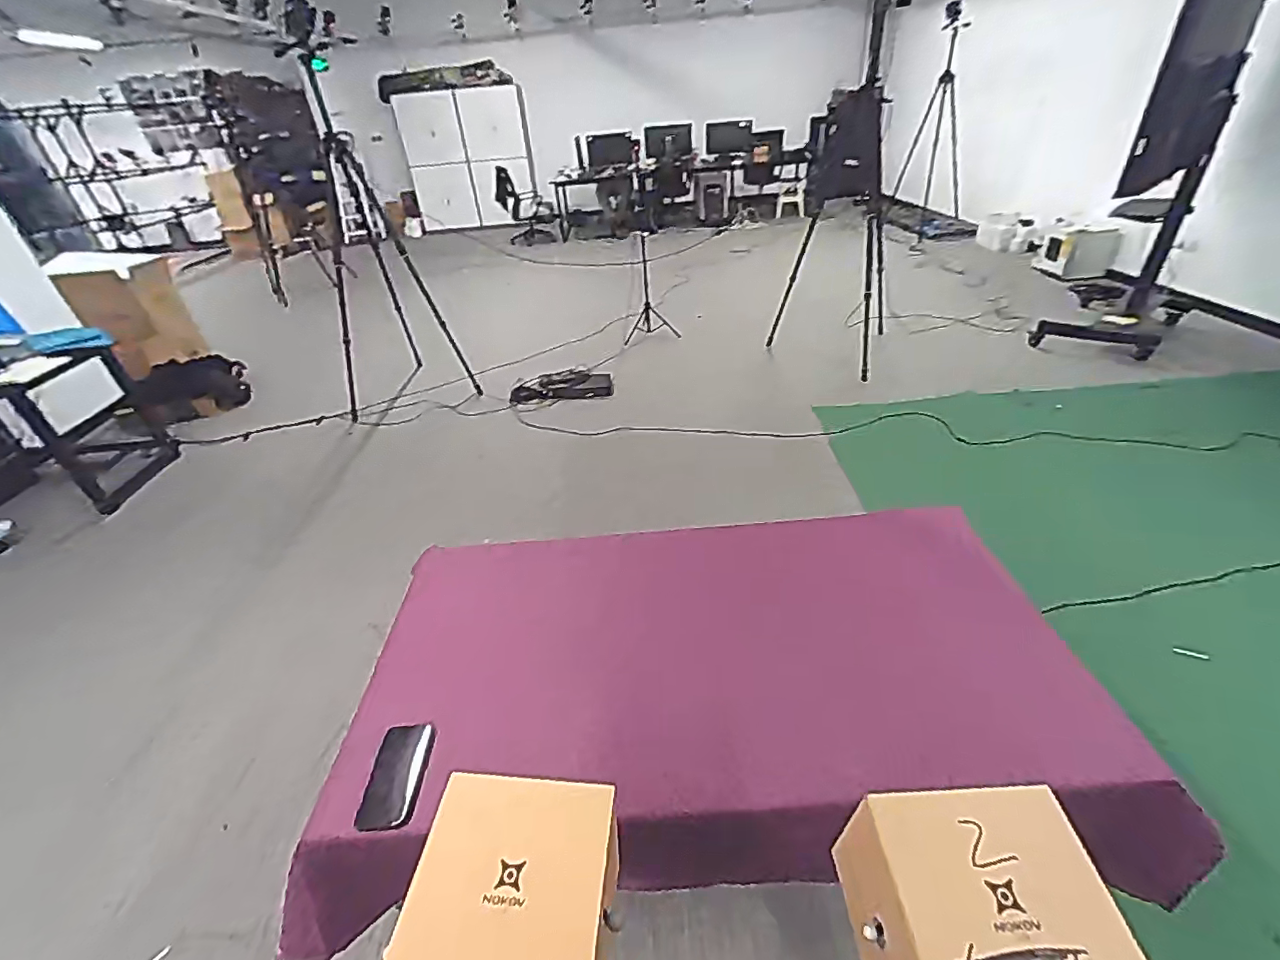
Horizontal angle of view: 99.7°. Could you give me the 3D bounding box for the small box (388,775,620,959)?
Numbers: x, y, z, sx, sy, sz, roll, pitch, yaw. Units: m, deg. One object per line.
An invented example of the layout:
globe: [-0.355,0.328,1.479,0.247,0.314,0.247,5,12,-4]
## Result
small box: [-0.111,0.411,0.503,0.168,0.176,0.179,3,35,3]
